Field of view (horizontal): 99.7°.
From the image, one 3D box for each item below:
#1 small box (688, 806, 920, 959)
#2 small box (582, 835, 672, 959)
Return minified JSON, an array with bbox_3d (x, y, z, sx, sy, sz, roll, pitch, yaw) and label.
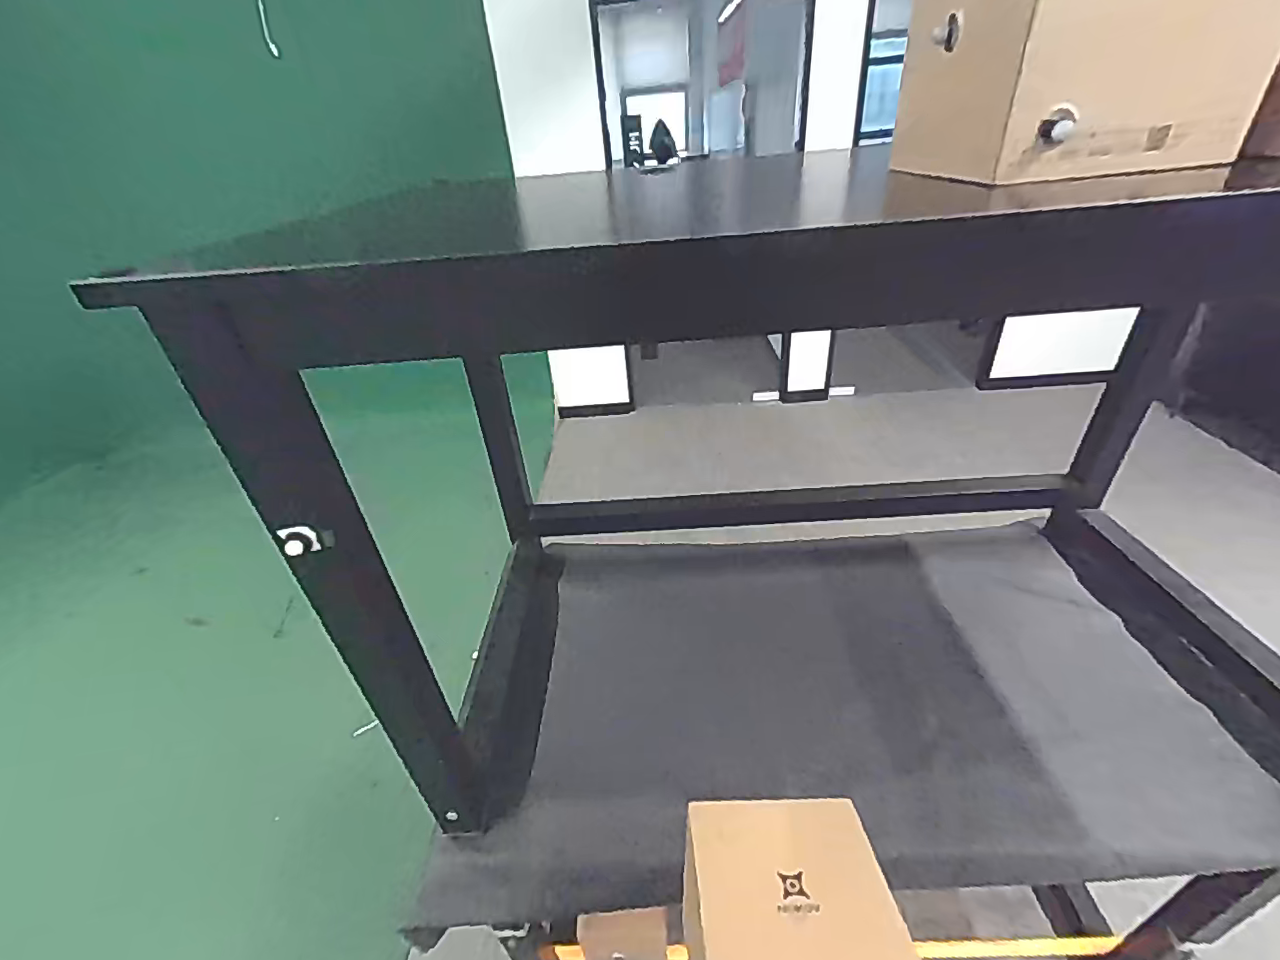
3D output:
[{"bbox_3d":[0.134,0.433,0.489,0.168,0.176,0.179,0,19,-1],"label":"small box"},{"bbox_3d":[-0.021,0.869,1.119,0.168,0.176,0.179,-4,35,3],"label":"small box"}]
